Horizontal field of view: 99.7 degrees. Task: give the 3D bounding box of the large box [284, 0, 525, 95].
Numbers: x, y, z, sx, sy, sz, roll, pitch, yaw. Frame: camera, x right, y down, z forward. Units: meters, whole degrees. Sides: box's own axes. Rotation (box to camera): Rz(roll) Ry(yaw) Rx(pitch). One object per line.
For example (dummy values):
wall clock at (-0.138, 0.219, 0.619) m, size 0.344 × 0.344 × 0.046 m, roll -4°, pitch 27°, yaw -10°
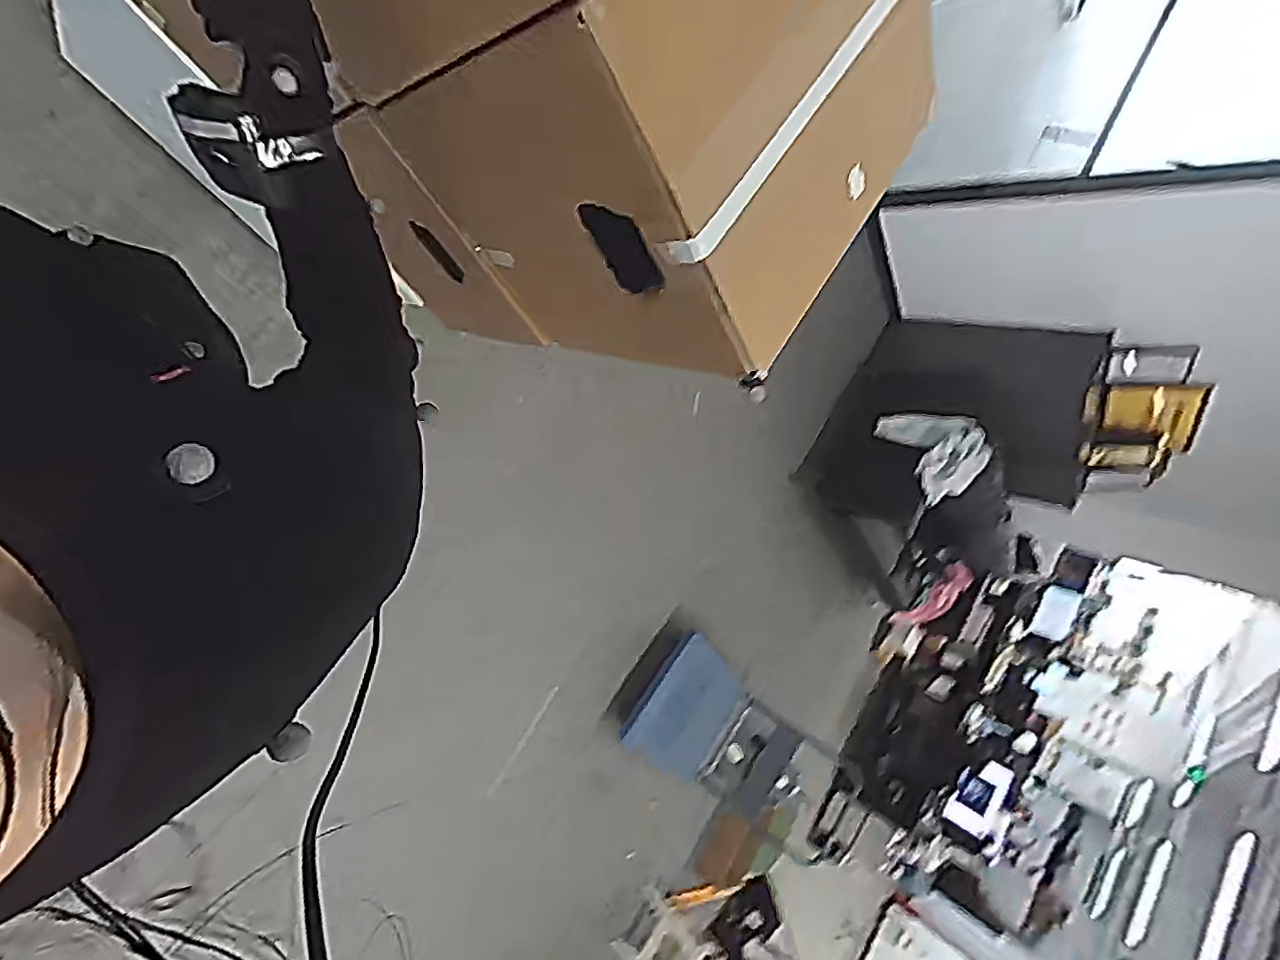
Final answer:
large box at (-0.122, -0.544, 0.322) m, size 0.320 × 0.320 × 0.408 m, roll 43°, pitch 73°, yaw -45°
